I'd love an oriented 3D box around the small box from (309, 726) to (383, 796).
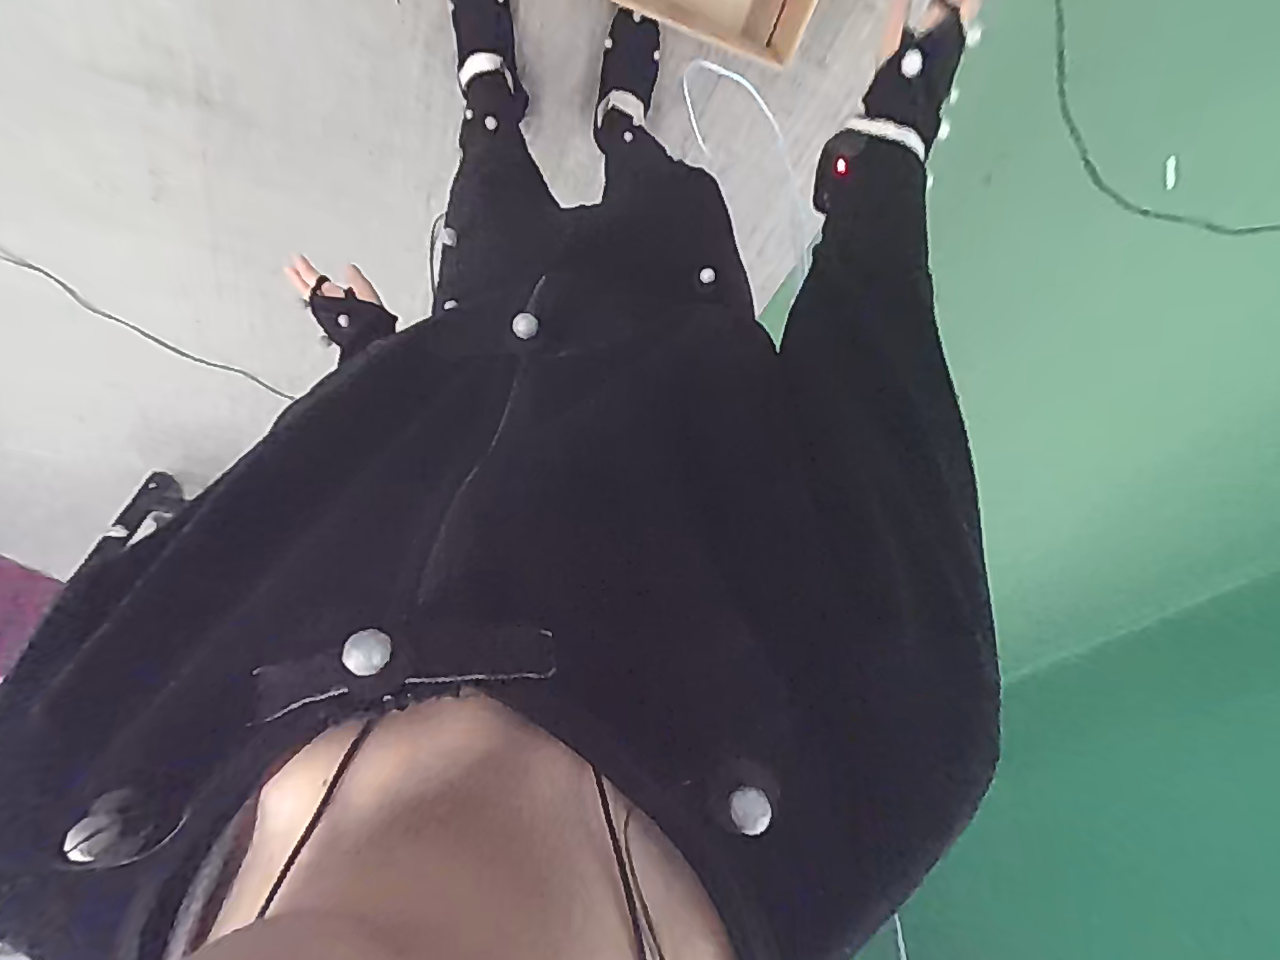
[{"bbox_3d":[-0.979,0.937,1.805,0.179,0.176,0.168,14,136,-17],"label":"small box"}]
